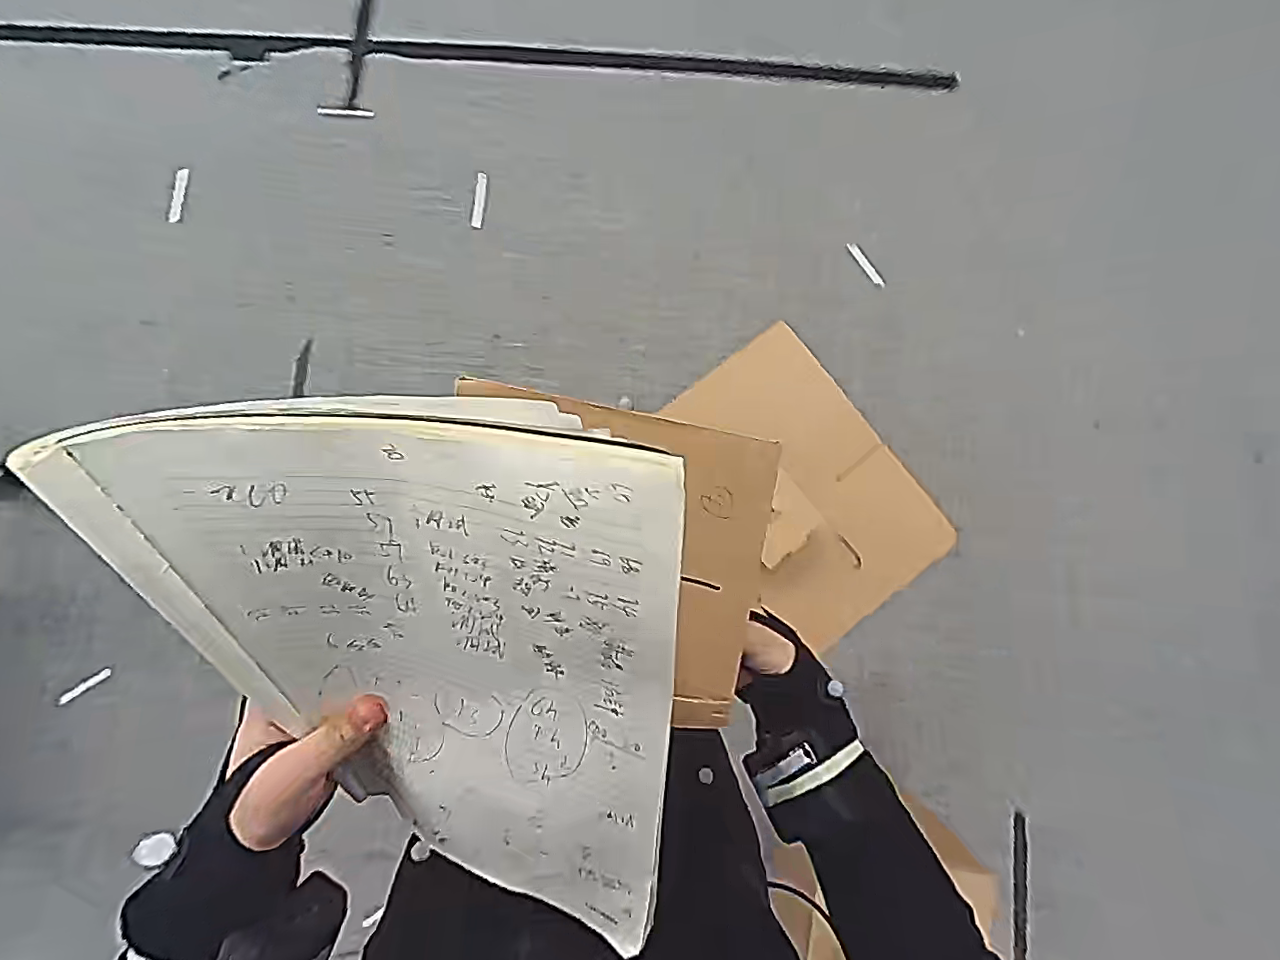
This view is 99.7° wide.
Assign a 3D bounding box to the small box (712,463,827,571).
[{"bbox_3d":[0.285,0.081,1.230,0.168,0.176,0.179,-39,87,-2],"label":"small box"}]
